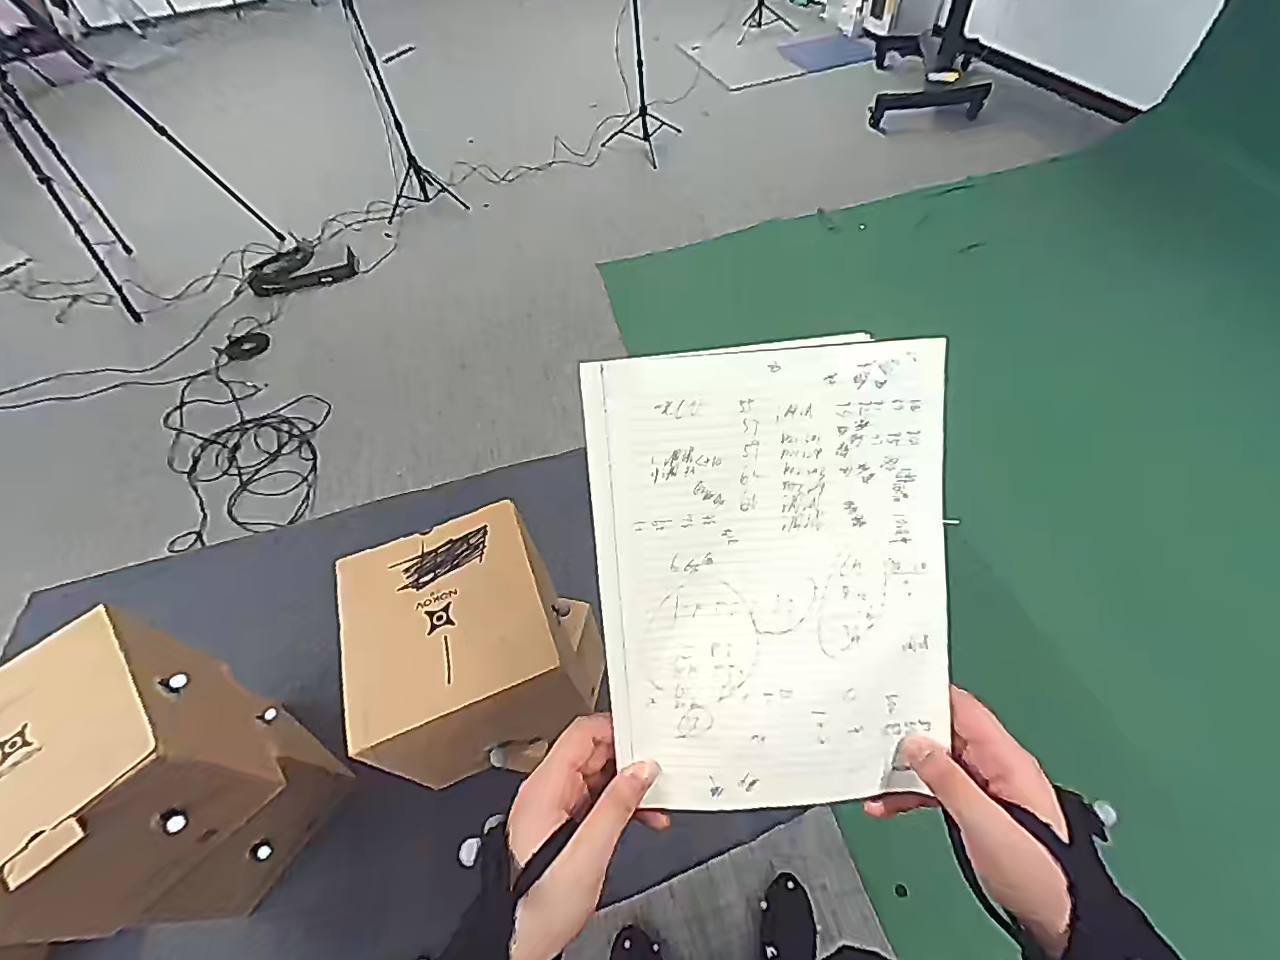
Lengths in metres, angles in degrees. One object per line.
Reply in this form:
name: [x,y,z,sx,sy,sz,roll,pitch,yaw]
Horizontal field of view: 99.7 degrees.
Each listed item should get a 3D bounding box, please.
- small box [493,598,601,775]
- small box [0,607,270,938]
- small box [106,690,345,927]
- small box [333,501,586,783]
small box: [-0.155,0.241,0.651,0.179,0.176,0.168,7,54,12]
small box: [-0.473,0.251,0.472,0.179,0.176,0.168,37,63,28]
small box: [-0.478,0.347,0.604,0.179,0.176,0.168,25,59,22]
small box: [-0.163,0.155,0.510,0.168,0.176,0.179,-21,54,-8]
